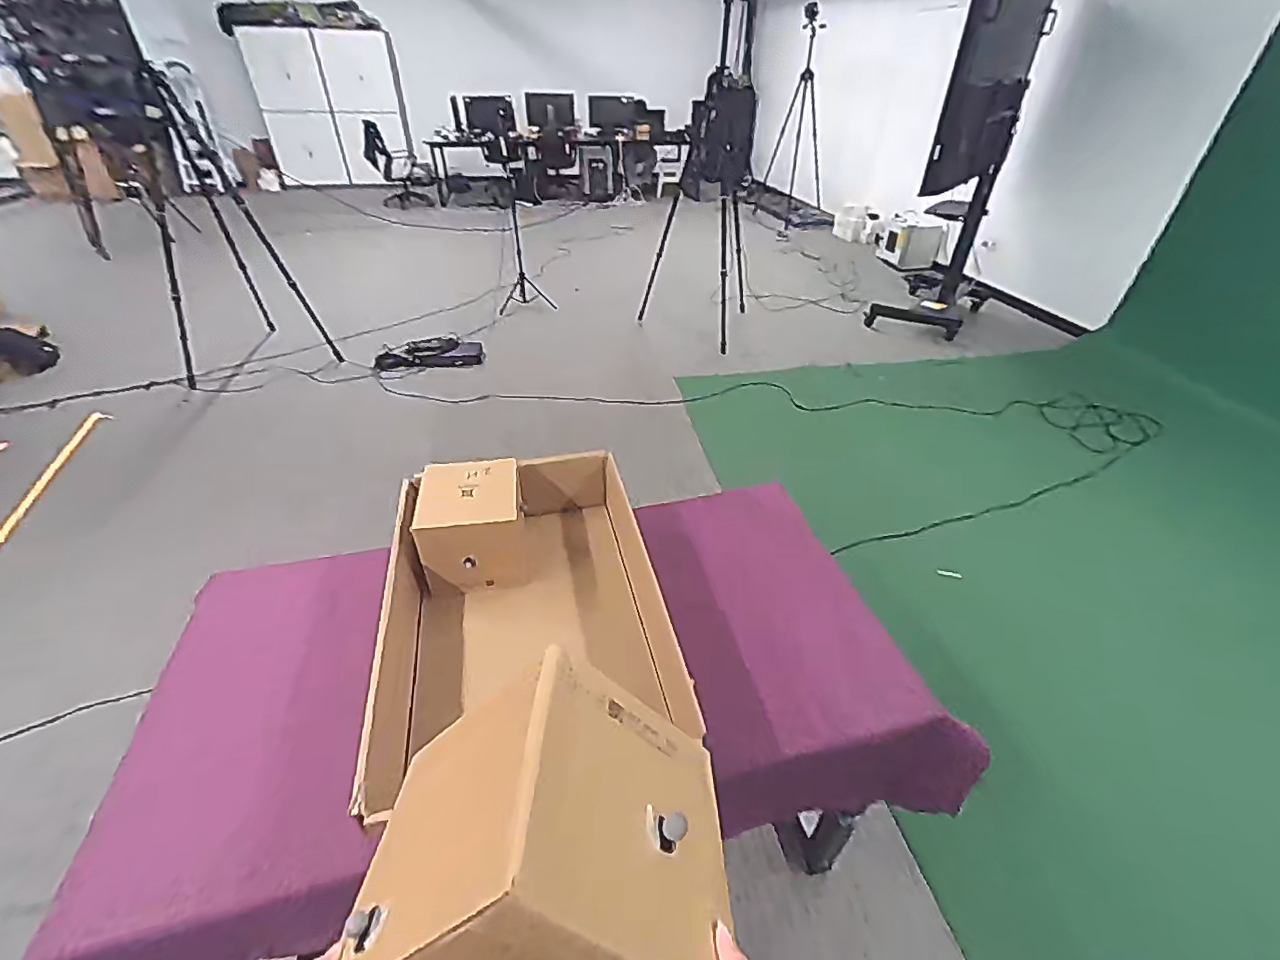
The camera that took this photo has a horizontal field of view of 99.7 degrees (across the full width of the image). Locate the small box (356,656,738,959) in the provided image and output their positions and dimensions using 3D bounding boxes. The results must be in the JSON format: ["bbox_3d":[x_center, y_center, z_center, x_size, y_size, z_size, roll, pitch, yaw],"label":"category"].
[{"bbox_3d":[-0.060,0.259,0.375,0.168,0.179,0.176,41,20,-18],"label":"small box"}]
